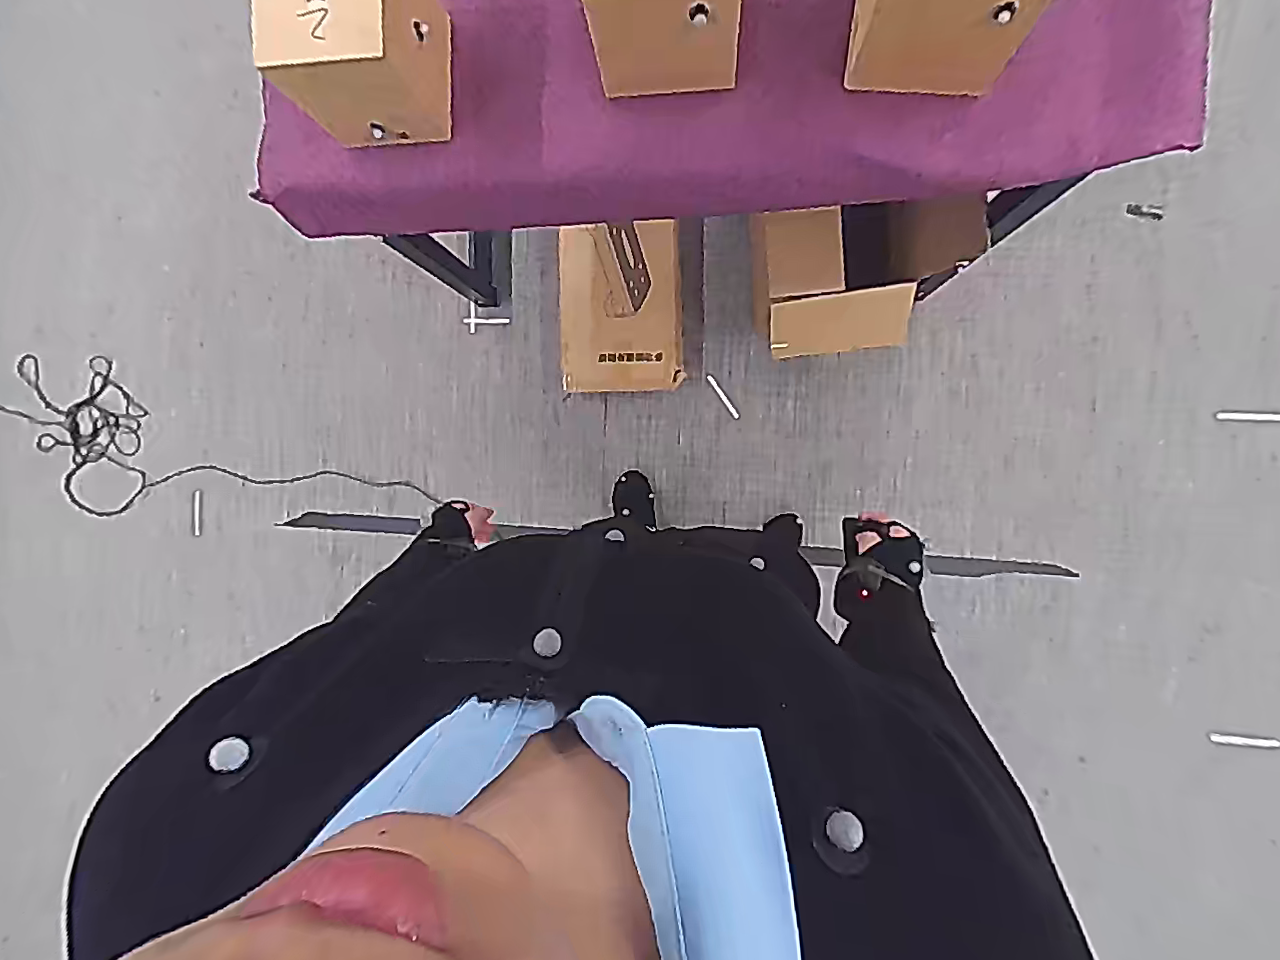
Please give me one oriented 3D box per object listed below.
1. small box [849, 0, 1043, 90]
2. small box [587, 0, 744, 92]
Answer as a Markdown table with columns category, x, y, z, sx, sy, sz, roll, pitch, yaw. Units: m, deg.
| category | x | y | z | sx | sy | sz | roll | pitch | yaw |
| --- | --- | --- | --- | --- | --- | --- | --- | --- | --- |
| small box | 0.350 | -0.577 | 0.607 | 0.179 | 0.176 | 0.168 | 7 | 93 | 6 |
| small box | 0.034 | -0.602 | 0.642 | 0.179 | 0.176 | 0.168 | 0 | 90 | 7 |
